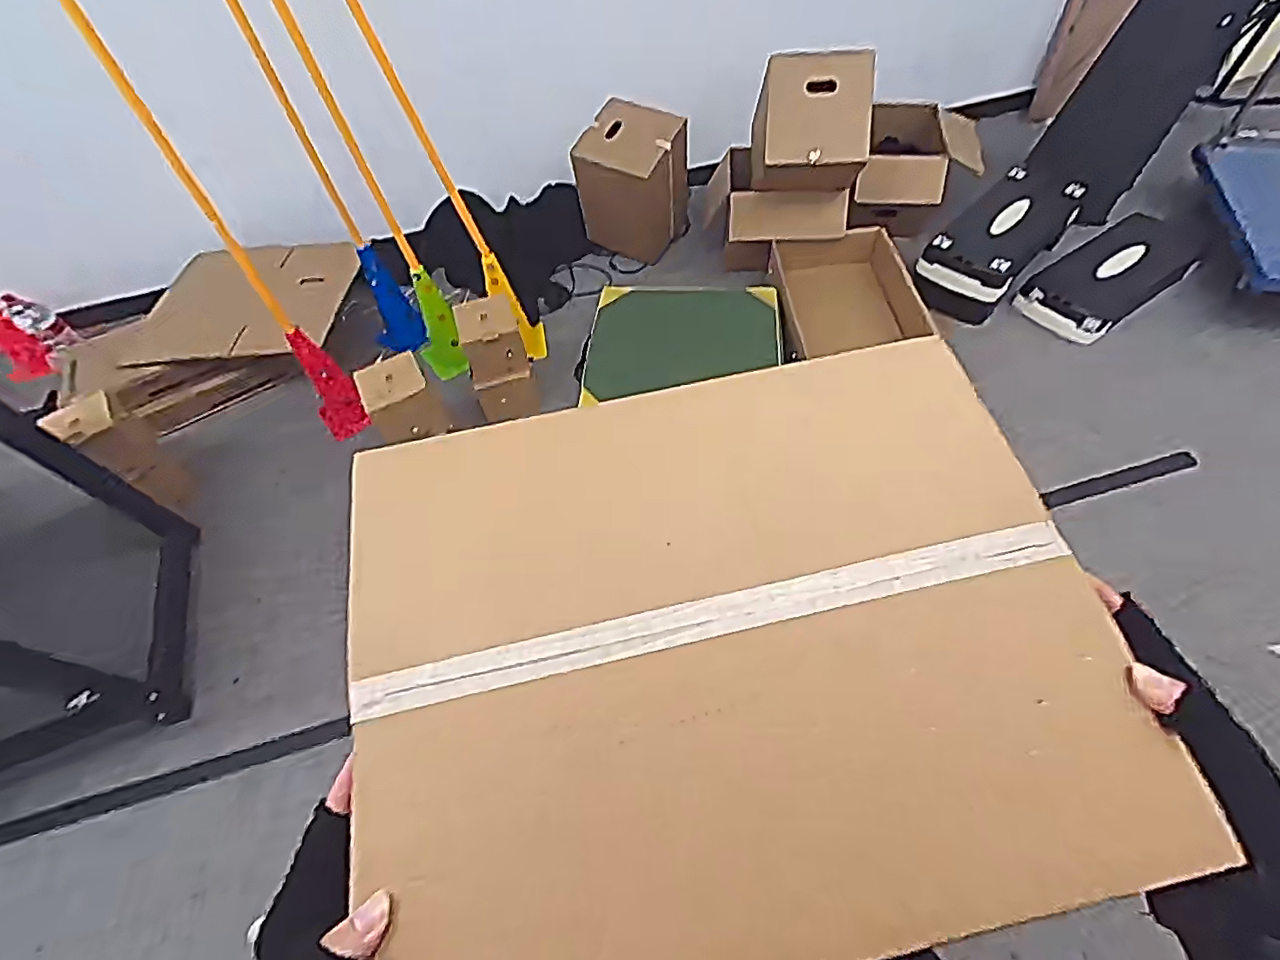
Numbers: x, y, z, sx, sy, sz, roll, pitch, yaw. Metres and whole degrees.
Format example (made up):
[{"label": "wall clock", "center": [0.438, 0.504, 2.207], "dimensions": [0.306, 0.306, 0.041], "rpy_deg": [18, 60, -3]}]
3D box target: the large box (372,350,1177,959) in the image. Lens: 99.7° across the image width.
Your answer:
[{"label": "large box", "center": [0.047, 0.146, 0.451], "dimensions": [0.408, 0.320, 0.320], "rpy_deg": [-12, 65, -3]}]
